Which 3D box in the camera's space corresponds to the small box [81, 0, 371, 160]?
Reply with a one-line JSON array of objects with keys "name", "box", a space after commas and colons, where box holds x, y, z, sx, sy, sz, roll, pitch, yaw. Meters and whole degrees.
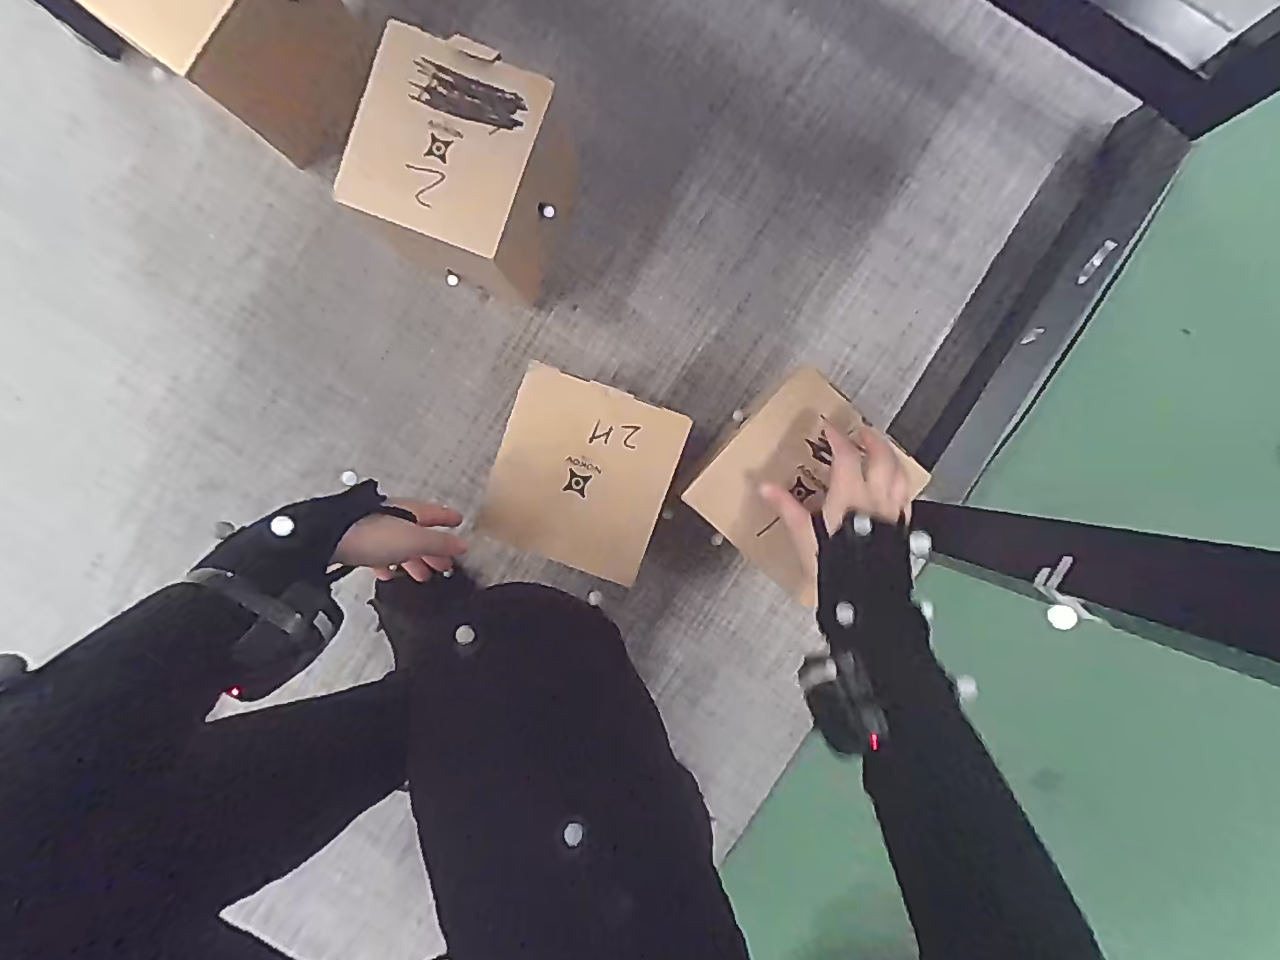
[{"name": "small box", "box": [-0.430, -0.494, 0.577, 0.168, 0.176, 0.179, 37, 92, 0]}]
